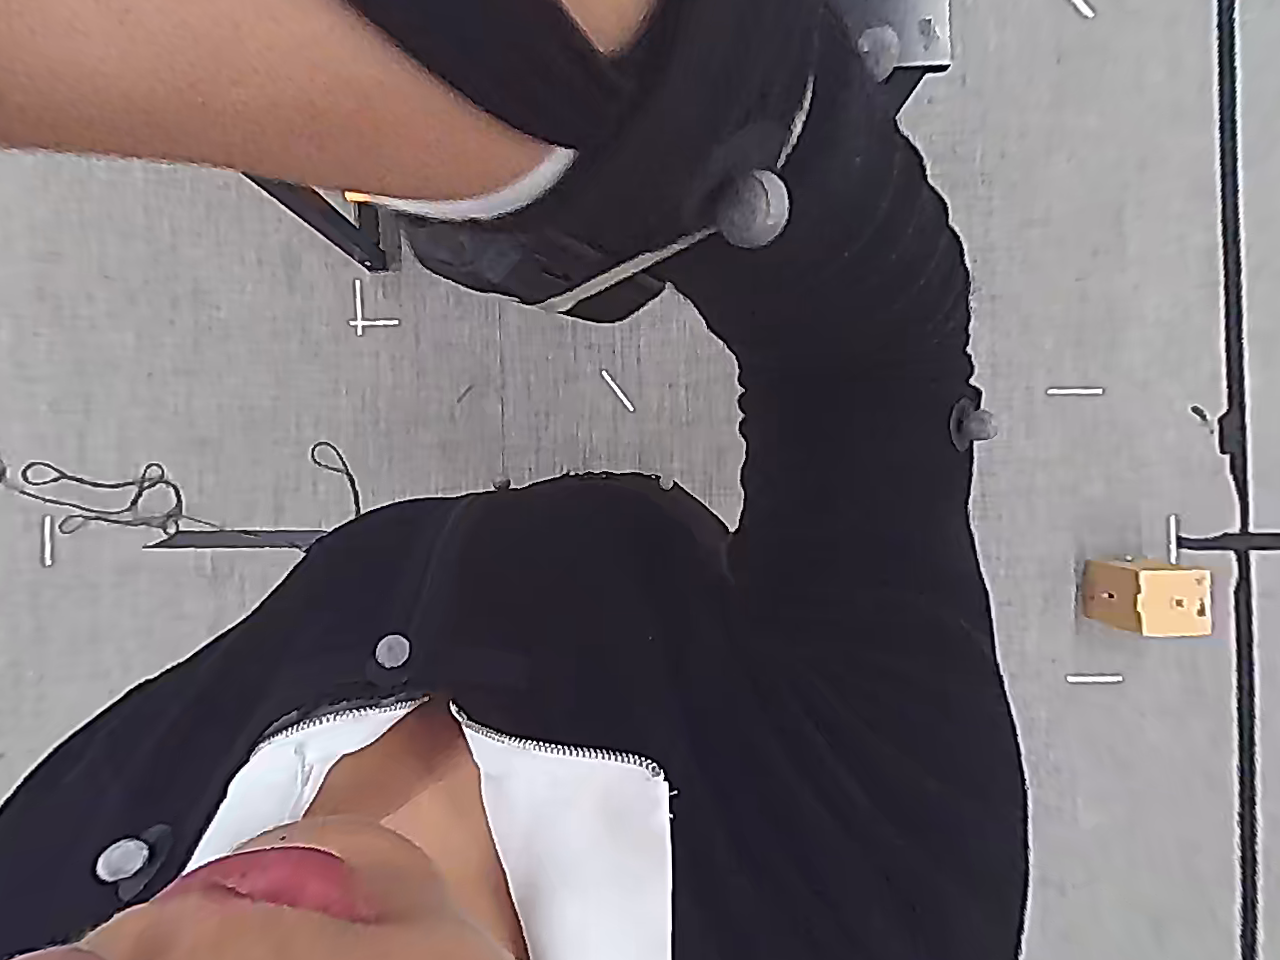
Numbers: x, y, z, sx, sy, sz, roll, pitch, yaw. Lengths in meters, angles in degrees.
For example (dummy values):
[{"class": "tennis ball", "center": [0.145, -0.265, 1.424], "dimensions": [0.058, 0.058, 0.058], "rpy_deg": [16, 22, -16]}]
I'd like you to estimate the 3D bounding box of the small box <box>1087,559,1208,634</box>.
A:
[{"class": "small box", "center": [1.321, 0.301, 1.419], "dimensions": [0.179, 0.176, 0.168], "rpy_deg": [-1, 90, 1]}]
